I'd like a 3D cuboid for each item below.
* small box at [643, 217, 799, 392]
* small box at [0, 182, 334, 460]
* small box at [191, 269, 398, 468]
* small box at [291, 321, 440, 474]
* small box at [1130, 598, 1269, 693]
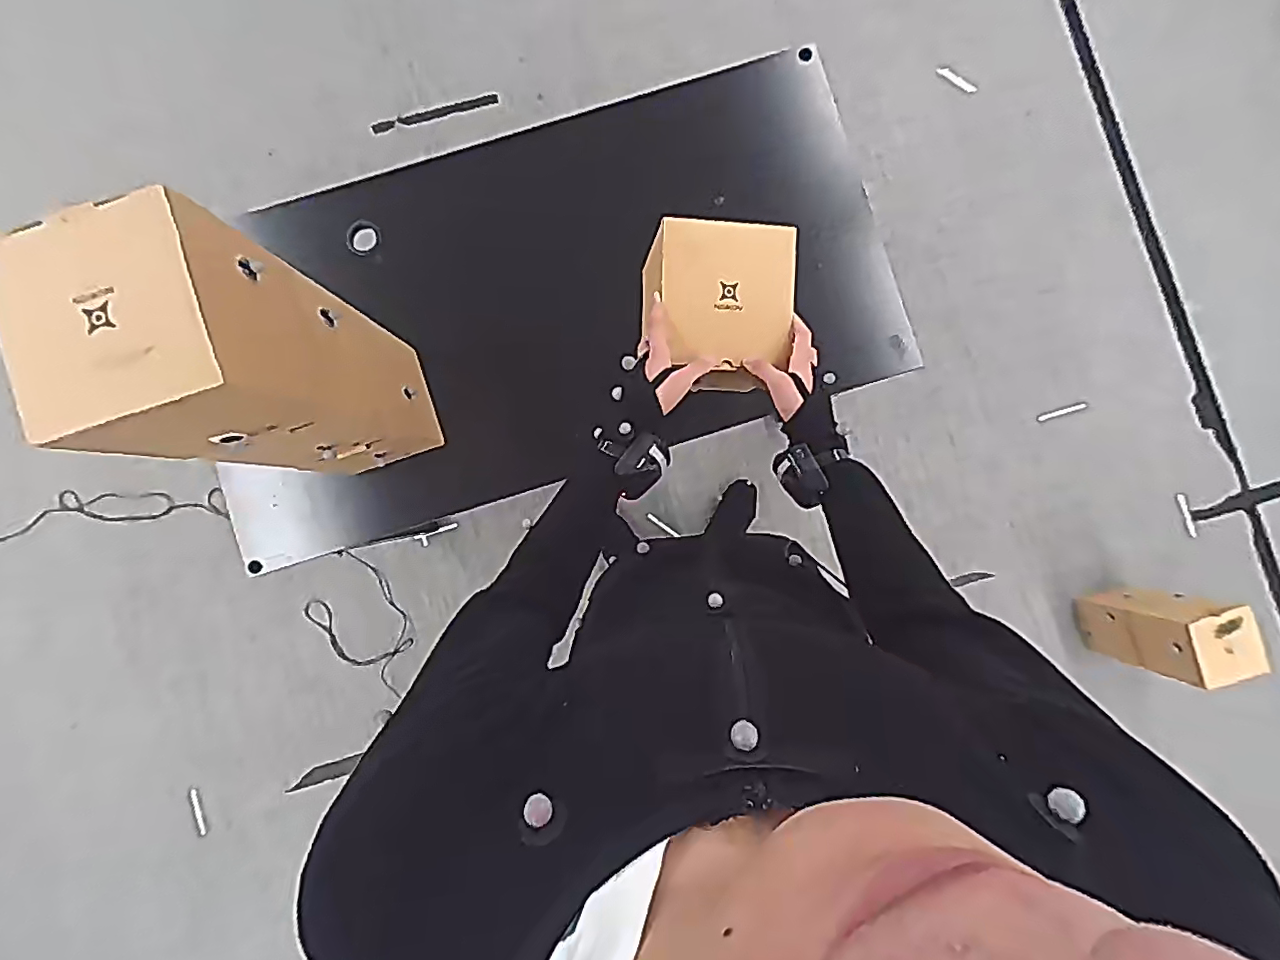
[{"bbox_3d":[0.096,-0.218,0.715,0.168,0.176,0.179,1,92,-7],"label":"small box"},{"bbox_3d":[-0.428,-0.128,0.504,0.168,0.176,0.179,-19,89,0],"label":"small box"},{"bbox_3d":[-0.431,-0.123,0.666,0.168,0.176,0.179,-19,89,-1],"label":"small box"},{"bbox_3d":[-0.432,-0.115,0.831,0.168,0.176,0.179,-19,89,-1],"label":"small box"},{"bbox_3d":[1.427,0.414,1.393,0.168,0.176,0.179,-17,90,-1],"label":"small box"}]
